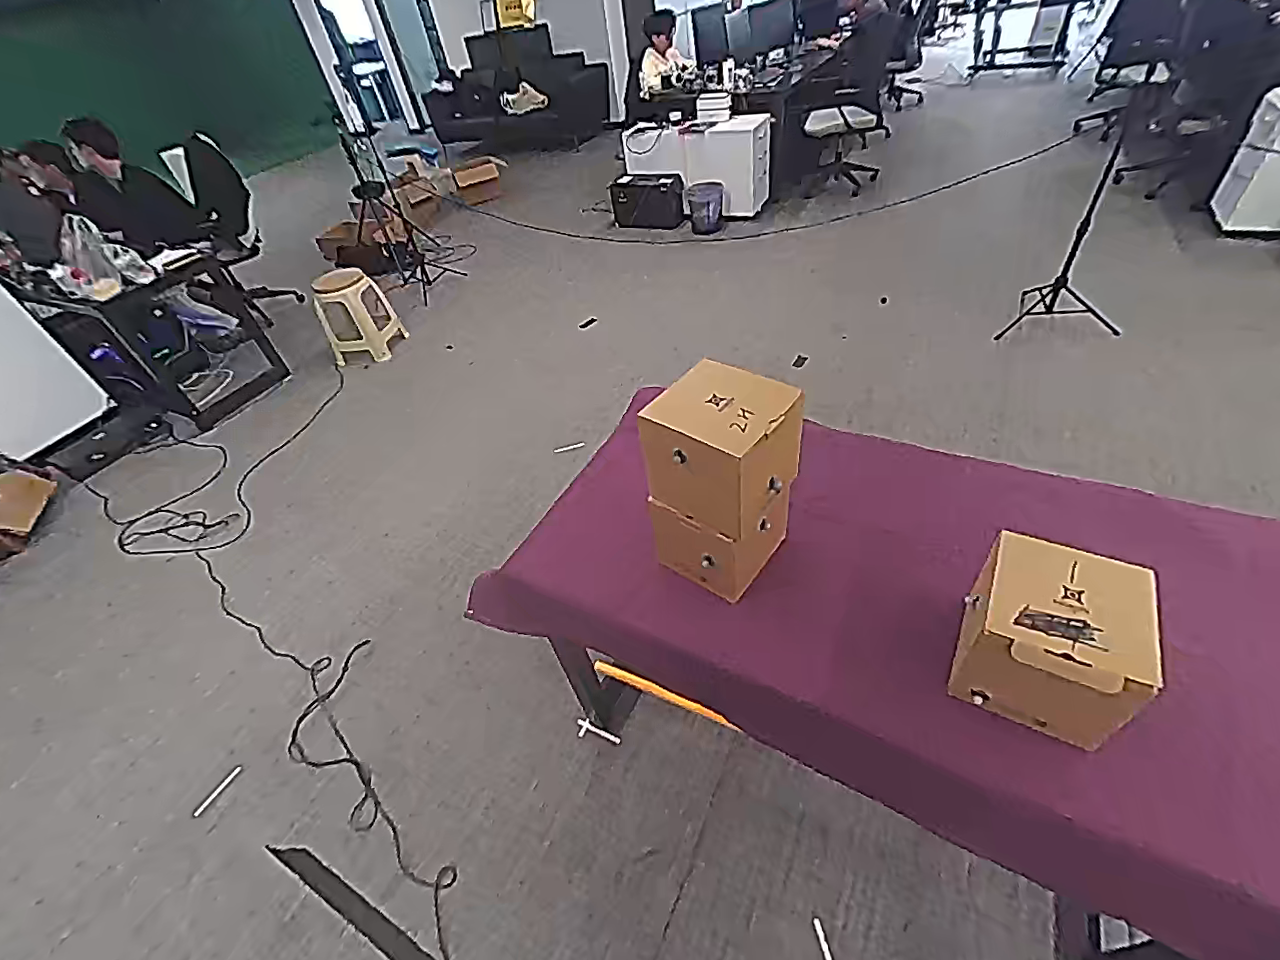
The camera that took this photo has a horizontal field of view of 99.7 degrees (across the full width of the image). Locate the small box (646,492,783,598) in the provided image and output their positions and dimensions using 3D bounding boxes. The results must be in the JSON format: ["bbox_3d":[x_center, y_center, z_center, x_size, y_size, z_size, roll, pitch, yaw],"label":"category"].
[{"bbox_3d":[0.135,0.068,0.922,0.168,0.176,0.179,26,54,31],"label":"small box"}]

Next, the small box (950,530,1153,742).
[{"bbox_3d":[0.522,0.202,0.703,0.168,0.176,0.179,18,49,27],"label":"small box"}]

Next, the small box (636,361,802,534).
[{"bbox_3d":[0.119,-0.048,0.807,0.179,0.176,0.168,27,56,32],"label":"small box"}]
